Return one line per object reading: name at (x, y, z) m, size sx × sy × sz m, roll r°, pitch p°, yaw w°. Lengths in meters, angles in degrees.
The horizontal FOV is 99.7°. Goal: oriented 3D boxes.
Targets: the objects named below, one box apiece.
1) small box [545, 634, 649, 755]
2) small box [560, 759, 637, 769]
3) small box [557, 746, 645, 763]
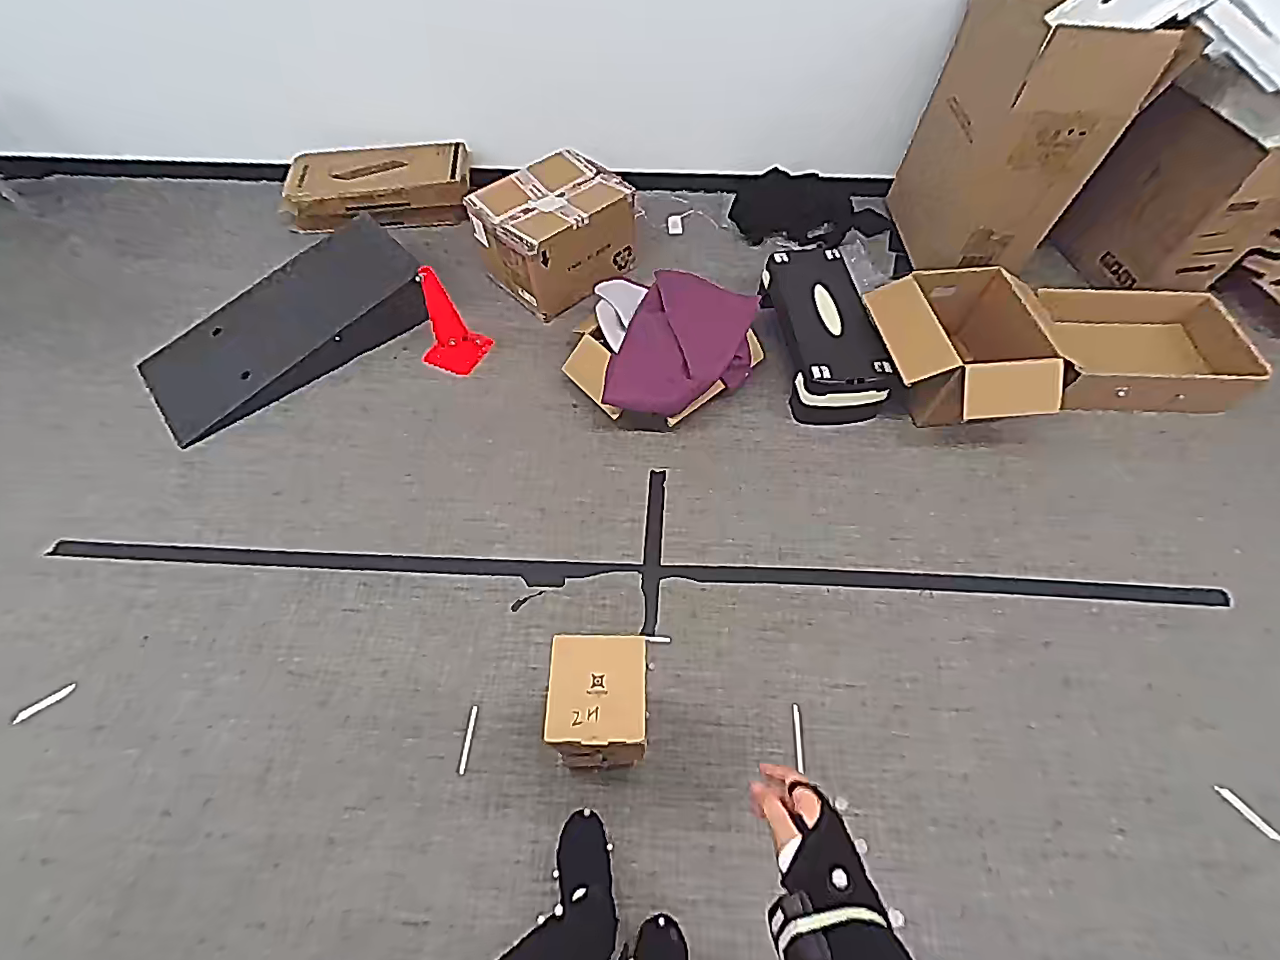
small box at (-0.068, 0.390, 0.976) m, size 0.168 × 0.176 × 0.179 m, roll 0°, pitch 58°, yaw 2°
small box at (-0.092, 0.565, 1.256) m, size 0.168 × 0.176 × 0.179 m, roll -3°, pitch 60°, yaw -1°
small box at (-0.075, 0.480, 1.115) m, size 0.168 × 0.176 × 0.179 m, roll -4°, pitch 59°, yaw -1°
